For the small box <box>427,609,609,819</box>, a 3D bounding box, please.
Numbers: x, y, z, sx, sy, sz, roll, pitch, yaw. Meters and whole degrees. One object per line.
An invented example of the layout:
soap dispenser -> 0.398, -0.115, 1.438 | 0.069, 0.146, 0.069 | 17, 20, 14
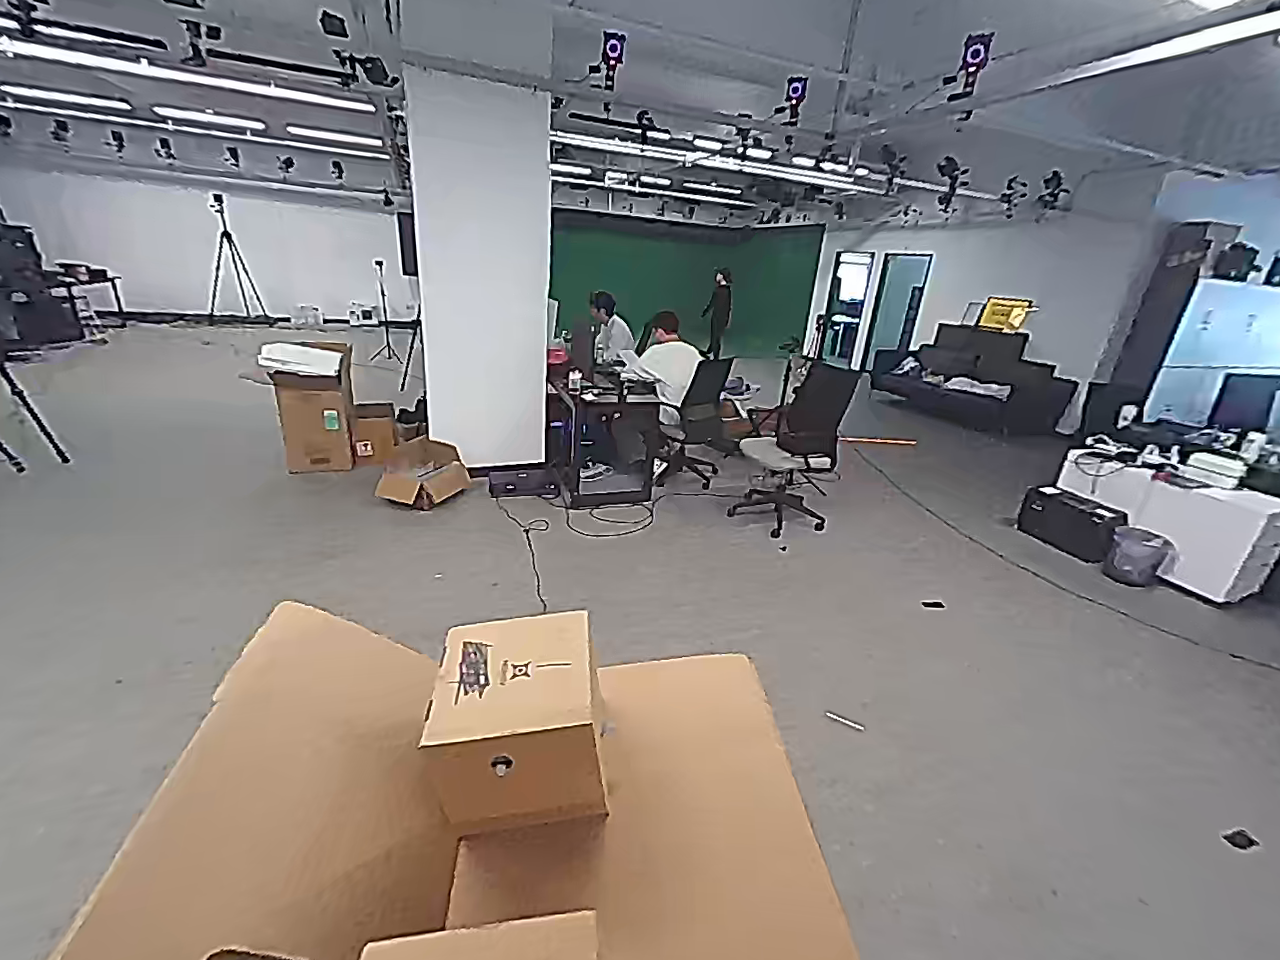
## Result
small box -> -0.136, 0.287, 0.667 | 0.179, 0.176, 0.168 | -6, 31, -3
